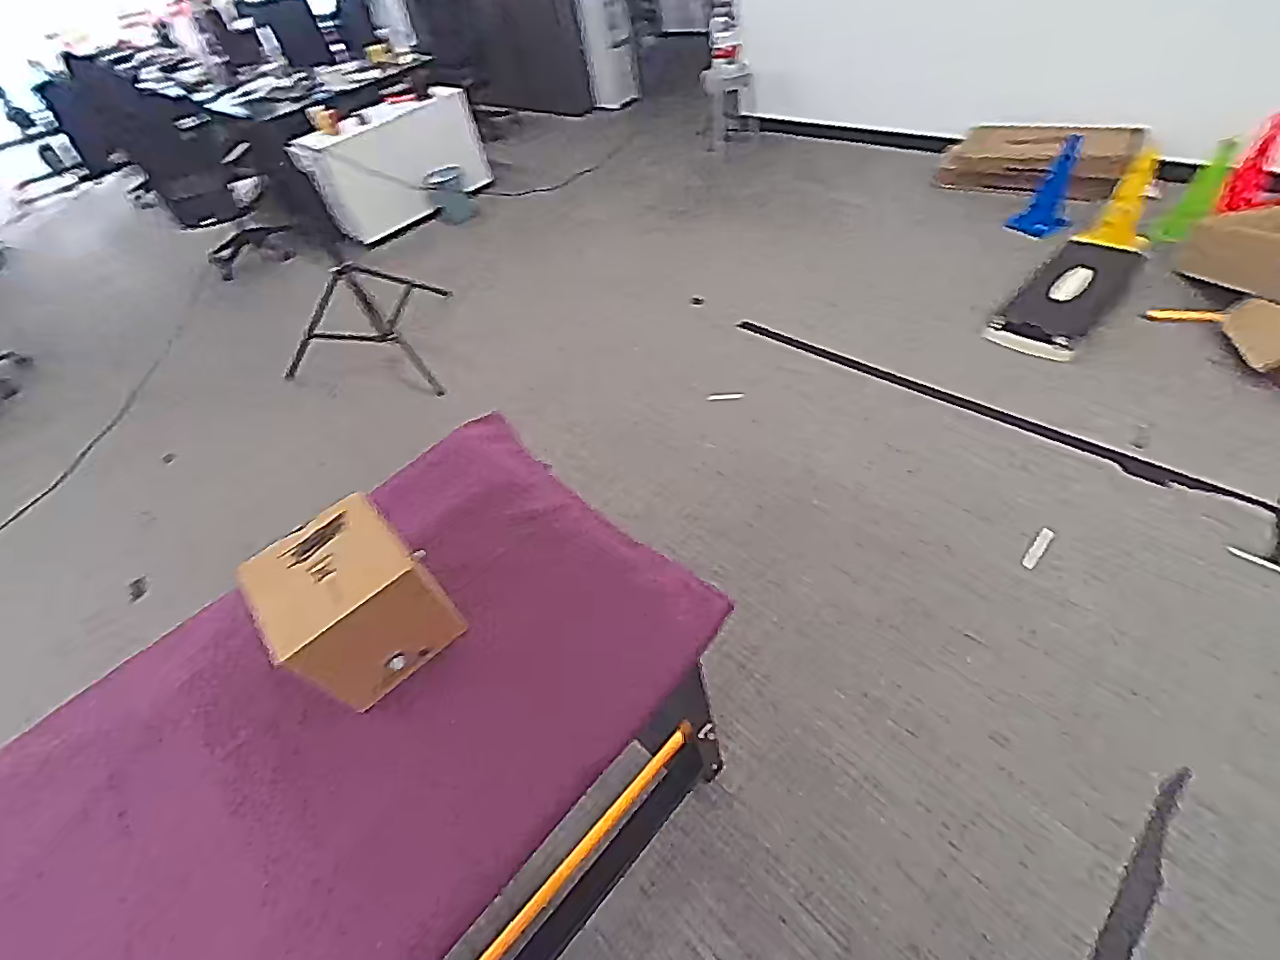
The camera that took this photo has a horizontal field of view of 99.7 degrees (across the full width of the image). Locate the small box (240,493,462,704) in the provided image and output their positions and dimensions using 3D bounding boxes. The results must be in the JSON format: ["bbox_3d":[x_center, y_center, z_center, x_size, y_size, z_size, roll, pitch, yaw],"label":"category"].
[{"bbox_3d":[-0.369,0.157,0.709,0.168,0.176,0.179,-39,53,-20],"label":"small box"}]
